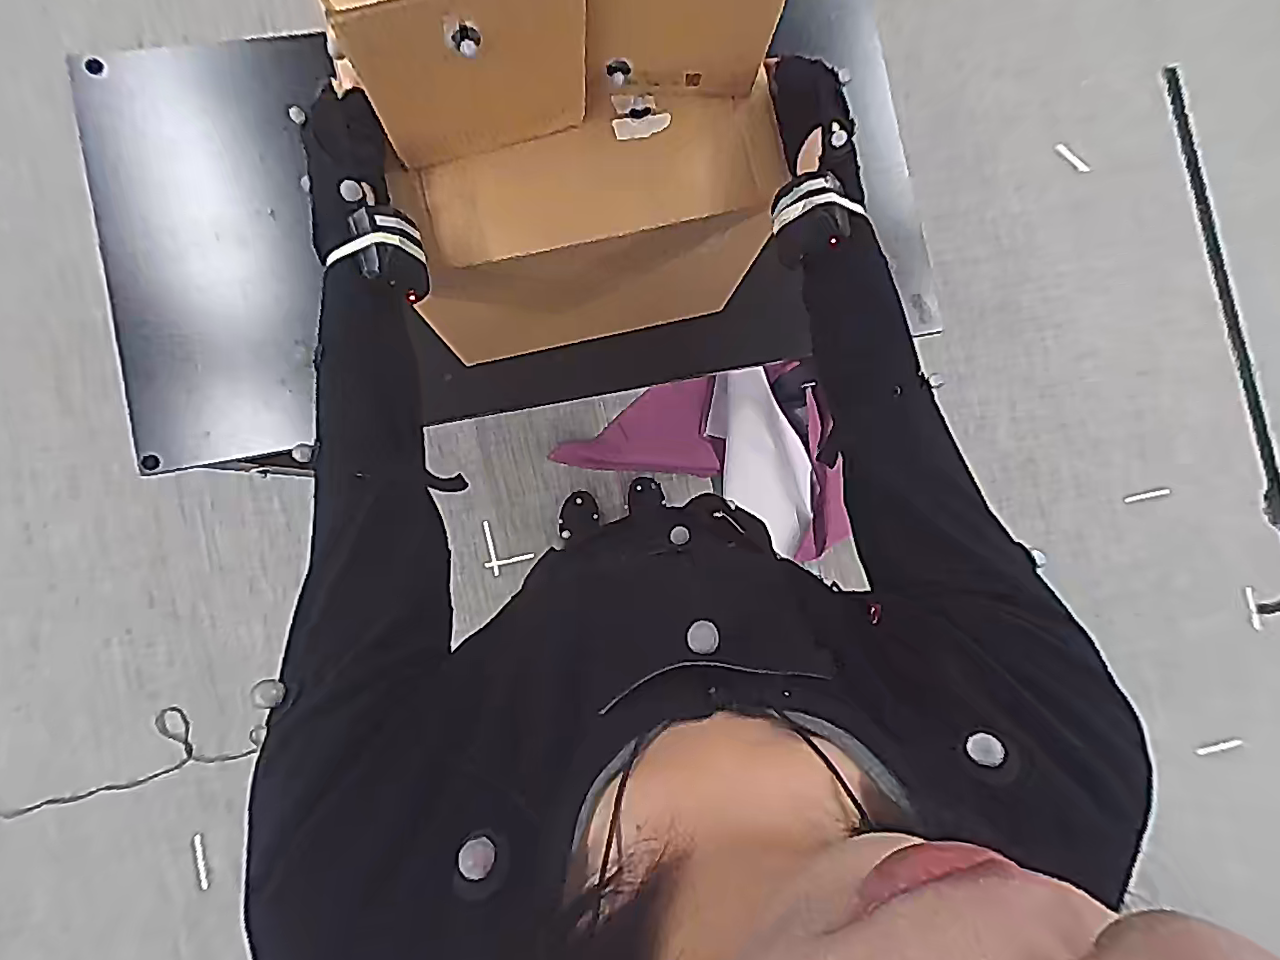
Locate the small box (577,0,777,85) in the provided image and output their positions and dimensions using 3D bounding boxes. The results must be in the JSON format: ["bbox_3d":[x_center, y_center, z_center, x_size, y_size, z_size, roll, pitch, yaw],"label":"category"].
[{"bbox_3d":[0.030,-0.466,0.444,0.168,0.176,0.179,-3,86,-5],"label":"small box"}]

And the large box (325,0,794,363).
[{"bbox_3d":[-0.089,-0.375,0.673,0.408,0.320,0.320,-15,89,-7],"label":"large box"}]
